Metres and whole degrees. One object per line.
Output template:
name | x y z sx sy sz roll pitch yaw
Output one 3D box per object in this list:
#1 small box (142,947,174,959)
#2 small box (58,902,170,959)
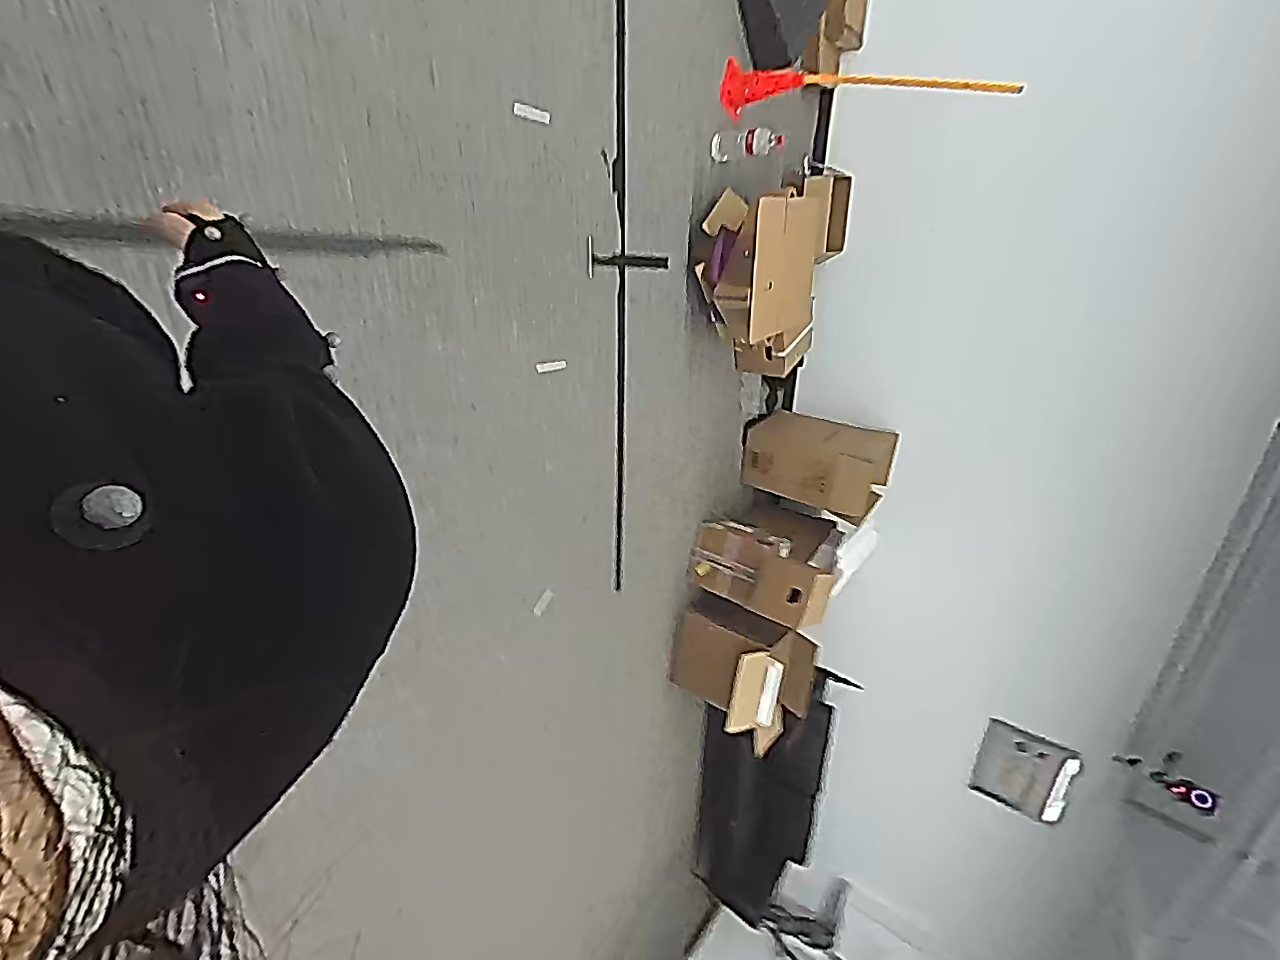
small box | -1.118 1.217 1.210 0.179 0.176 0.168 -29 126 -48
small box | -1.256 1.182 1.294 0.179 0.176 0.168 -32 129 -46
